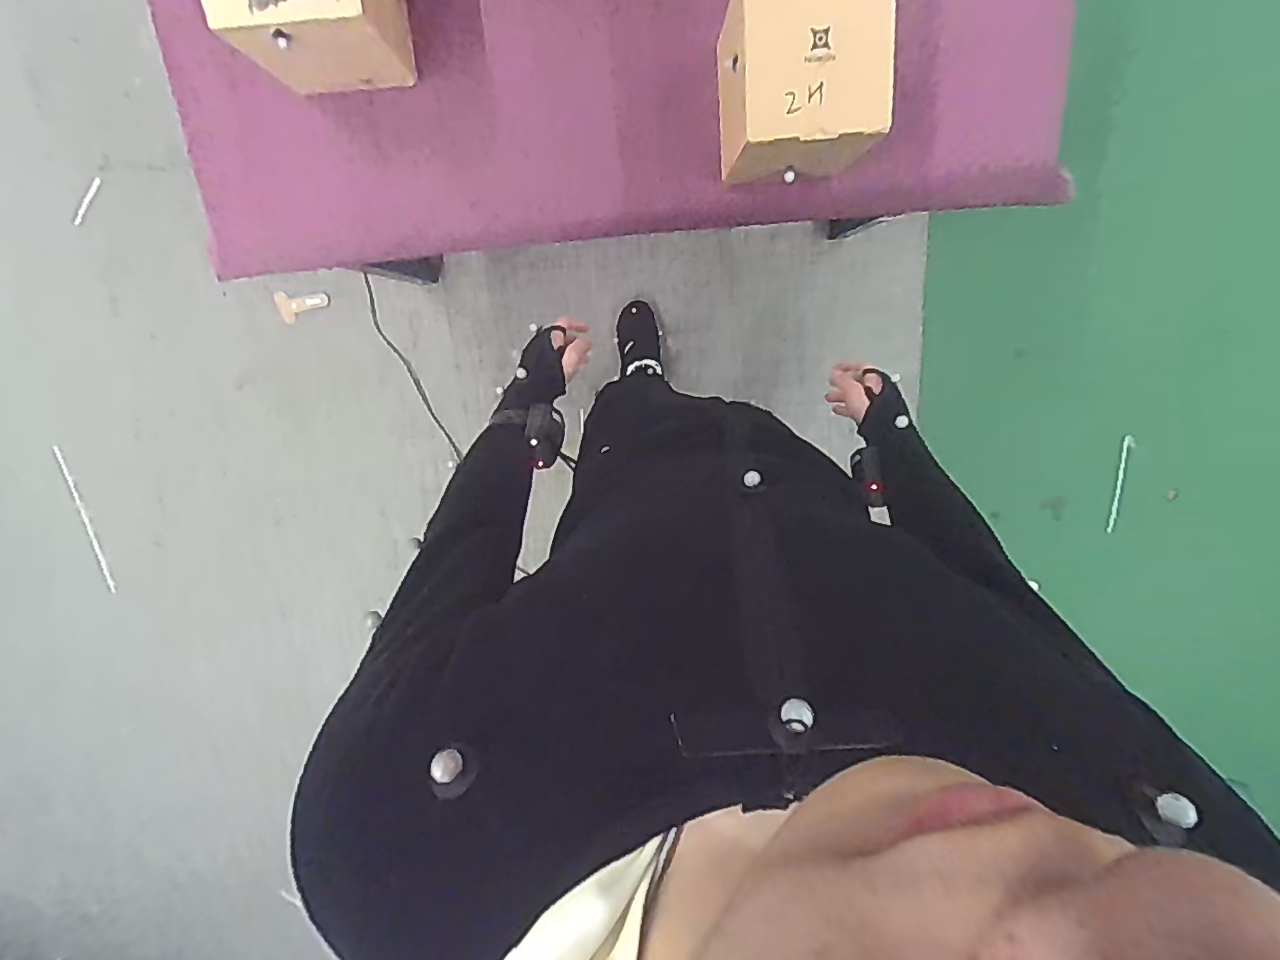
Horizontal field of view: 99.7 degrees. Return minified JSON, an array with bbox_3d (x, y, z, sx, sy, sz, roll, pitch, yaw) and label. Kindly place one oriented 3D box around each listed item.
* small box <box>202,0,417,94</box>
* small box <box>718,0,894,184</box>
[{"bbox_3d":[-0.381,-0.588,0.626,0.168,0.176,0.179,-5,105,1],"label":"small box"},{"bbox_3d":[0.192,-0.491,0.669,0.168,0.176,0.179,-4,104,0],"label":"small box"}]
